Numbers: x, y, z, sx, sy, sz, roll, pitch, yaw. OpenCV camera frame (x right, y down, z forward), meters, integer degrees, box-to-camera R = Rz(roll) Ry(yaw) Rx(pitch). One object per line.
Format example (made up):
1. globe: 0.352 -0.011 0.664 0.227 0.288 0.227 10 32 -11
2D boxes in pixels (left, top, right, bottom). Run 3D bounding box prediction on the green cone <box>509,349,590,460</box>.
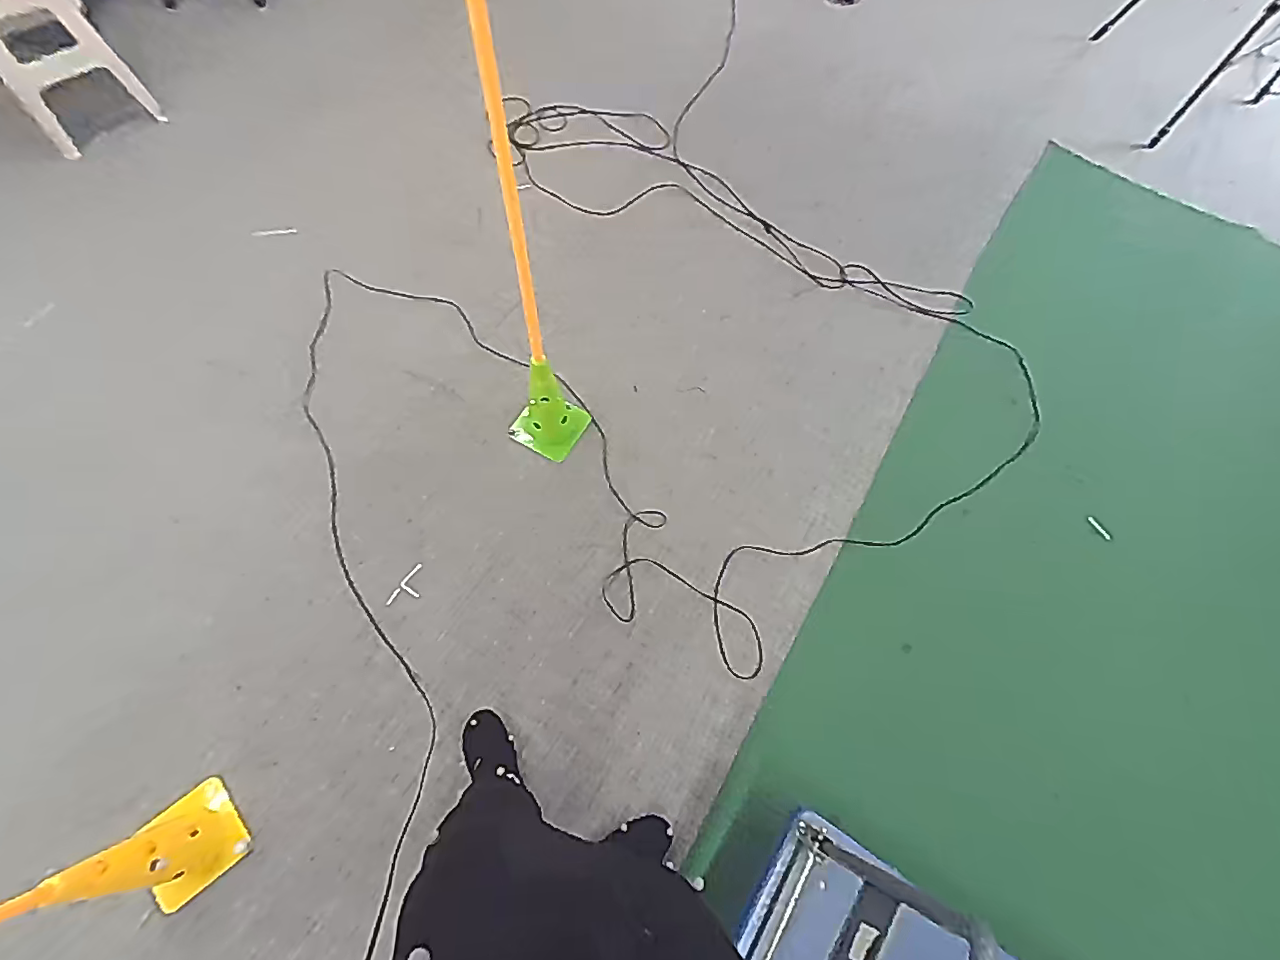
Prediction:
1. green cone: -0.271 -0.243 1.546 0.200 0.368 0.202 28 67 7
